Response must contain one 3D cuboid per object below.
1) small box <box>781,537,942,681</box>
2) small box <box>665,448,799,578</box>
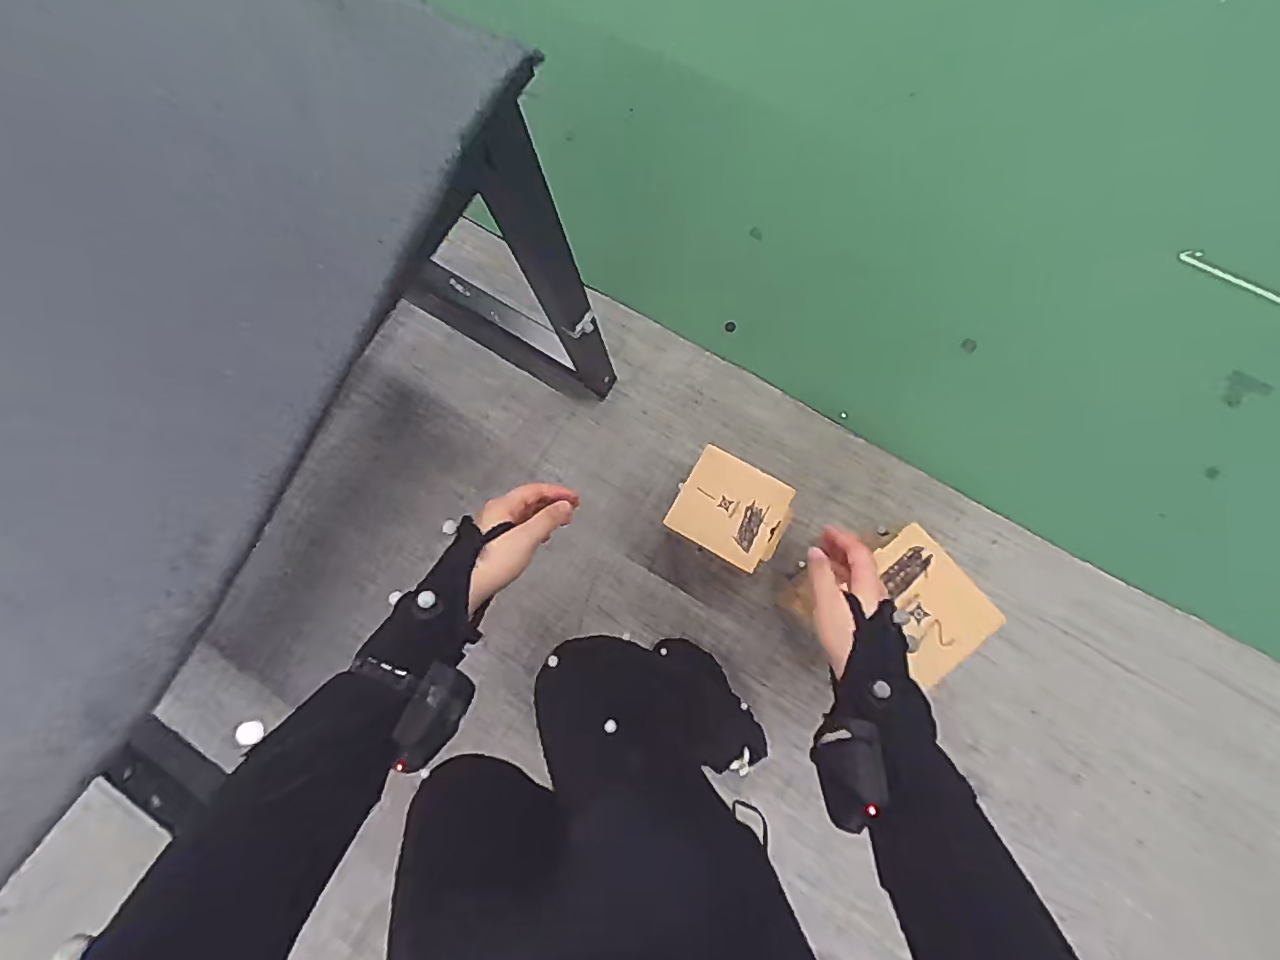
[{"bbox_3d":[0.376,0.216,0.955,0.179,0.176,0.168,40,86,9],"label":"small box"},{"bbox_3d":[0.164,0.064,0.998,0.179,0.176,0.168,30,84,9],"label":"small box"}]
